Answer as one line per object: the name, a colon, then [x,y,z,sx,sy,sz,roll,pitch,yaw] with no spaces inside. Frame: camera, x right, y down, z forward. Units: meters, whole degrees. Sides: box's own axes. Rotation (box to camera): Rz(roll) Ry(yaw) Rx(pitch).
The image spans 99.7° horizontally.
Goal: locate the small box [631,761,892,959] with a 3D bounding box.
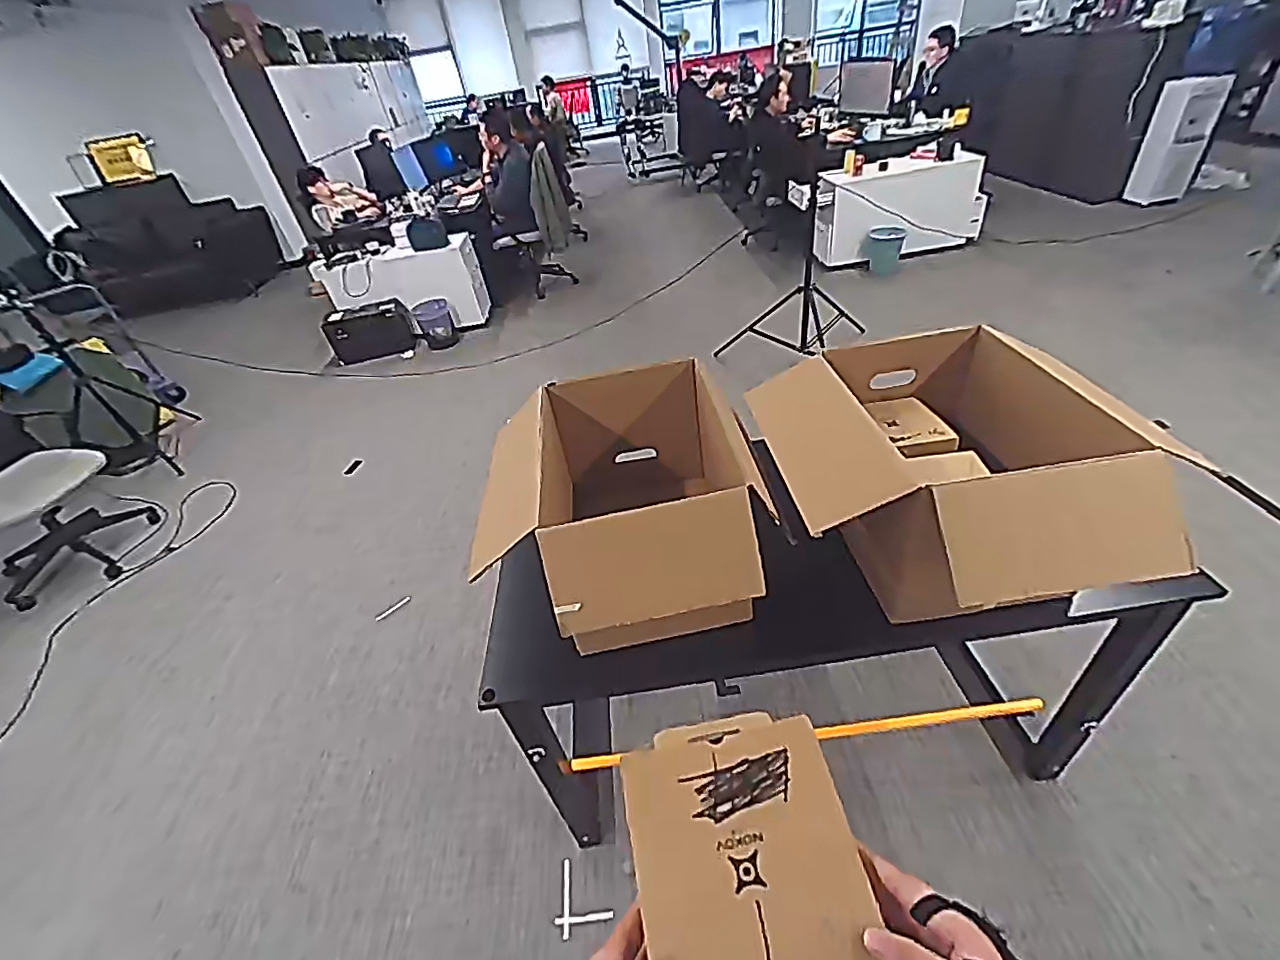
small box: [0.089,0.360,0.448,0.168,0.176,0.179,-11,51,-3]
